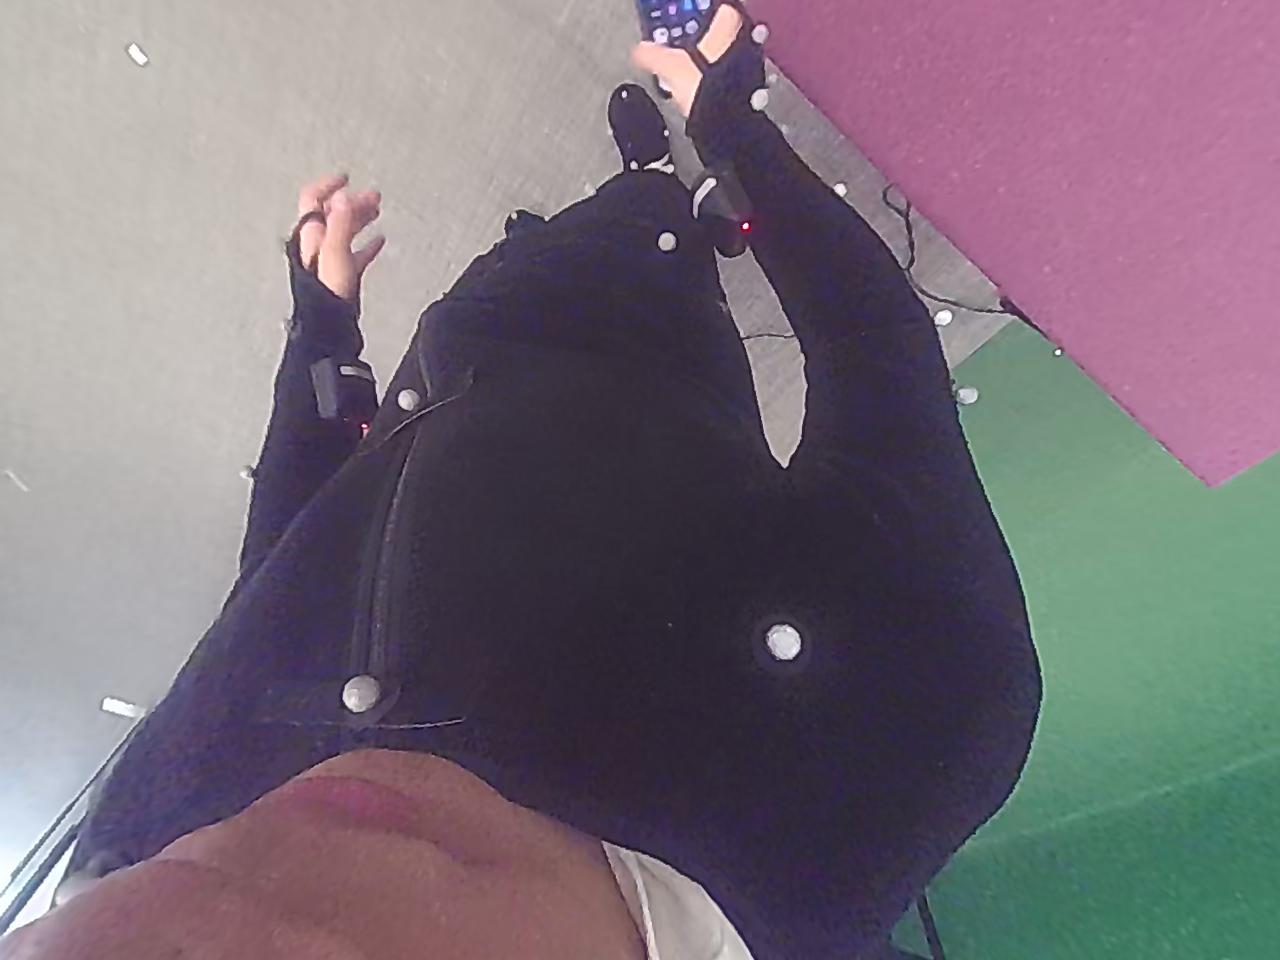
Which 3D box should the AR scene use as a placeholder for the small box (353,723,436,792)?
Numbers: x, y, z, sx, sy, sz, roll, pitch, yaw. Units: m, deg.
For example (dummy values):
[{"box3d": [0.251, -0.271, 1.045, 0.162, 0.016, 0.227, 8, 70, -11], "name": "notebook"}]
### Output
[{"box3d": [-0.818, 0.954, 1.820, 0.168, 0.176, 0.179, 37, 120, -23], "name": "small box"}]
